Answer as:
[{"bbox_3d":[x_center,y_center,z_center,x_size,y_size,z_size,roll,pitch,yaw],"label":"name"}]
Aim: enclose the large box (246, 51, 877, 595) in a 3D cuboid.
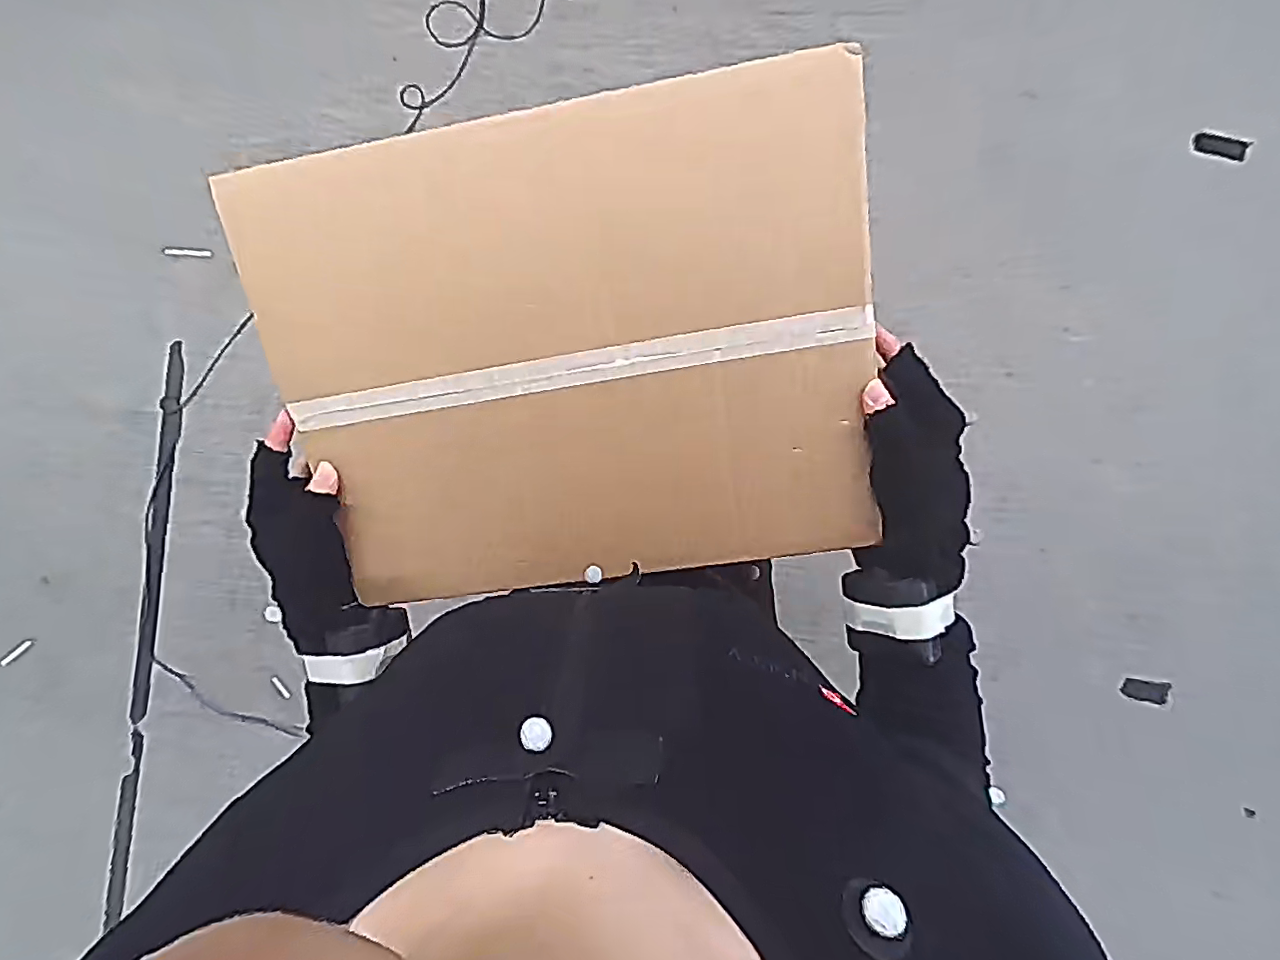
[{"bbox_3d":[-0.038,-0.121,0.520,0.408,0.320,0.320,-8,107,6],"label":"large box"}]
